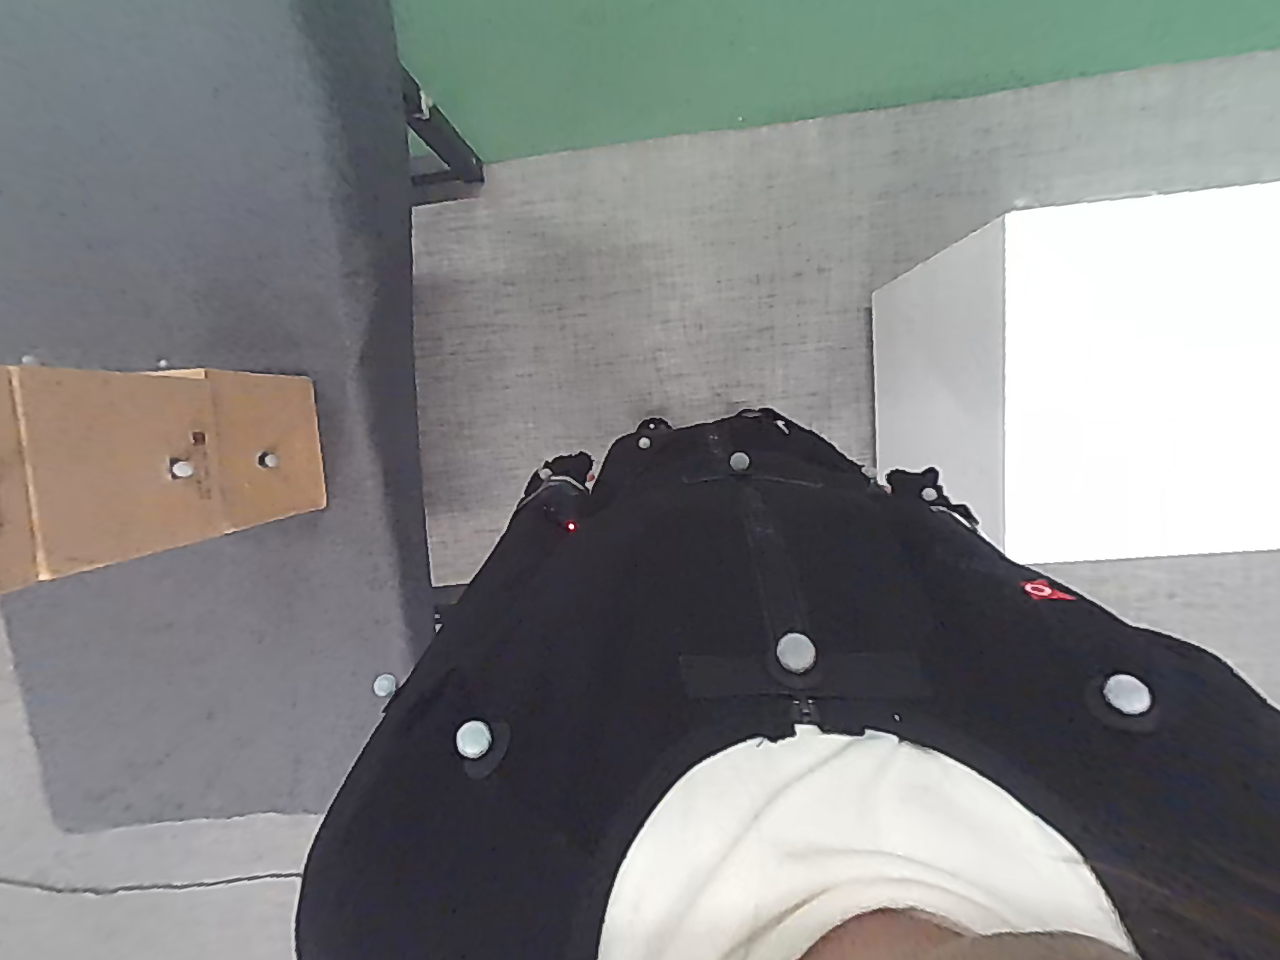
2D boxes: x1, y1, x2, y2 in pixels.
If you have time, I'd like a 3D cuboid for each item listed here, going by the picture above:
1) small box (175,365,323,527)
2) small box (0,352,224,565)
[{"bbox_3d":[-0.520,-0.046,0.661,0.168,0.176,0.179,-2,98,6],"label":"small box"},{"bbox_3d":[-0.540,-0.023,0.499,0.179,0.176,0.168,-2,98,8],"label":"small box"}]
